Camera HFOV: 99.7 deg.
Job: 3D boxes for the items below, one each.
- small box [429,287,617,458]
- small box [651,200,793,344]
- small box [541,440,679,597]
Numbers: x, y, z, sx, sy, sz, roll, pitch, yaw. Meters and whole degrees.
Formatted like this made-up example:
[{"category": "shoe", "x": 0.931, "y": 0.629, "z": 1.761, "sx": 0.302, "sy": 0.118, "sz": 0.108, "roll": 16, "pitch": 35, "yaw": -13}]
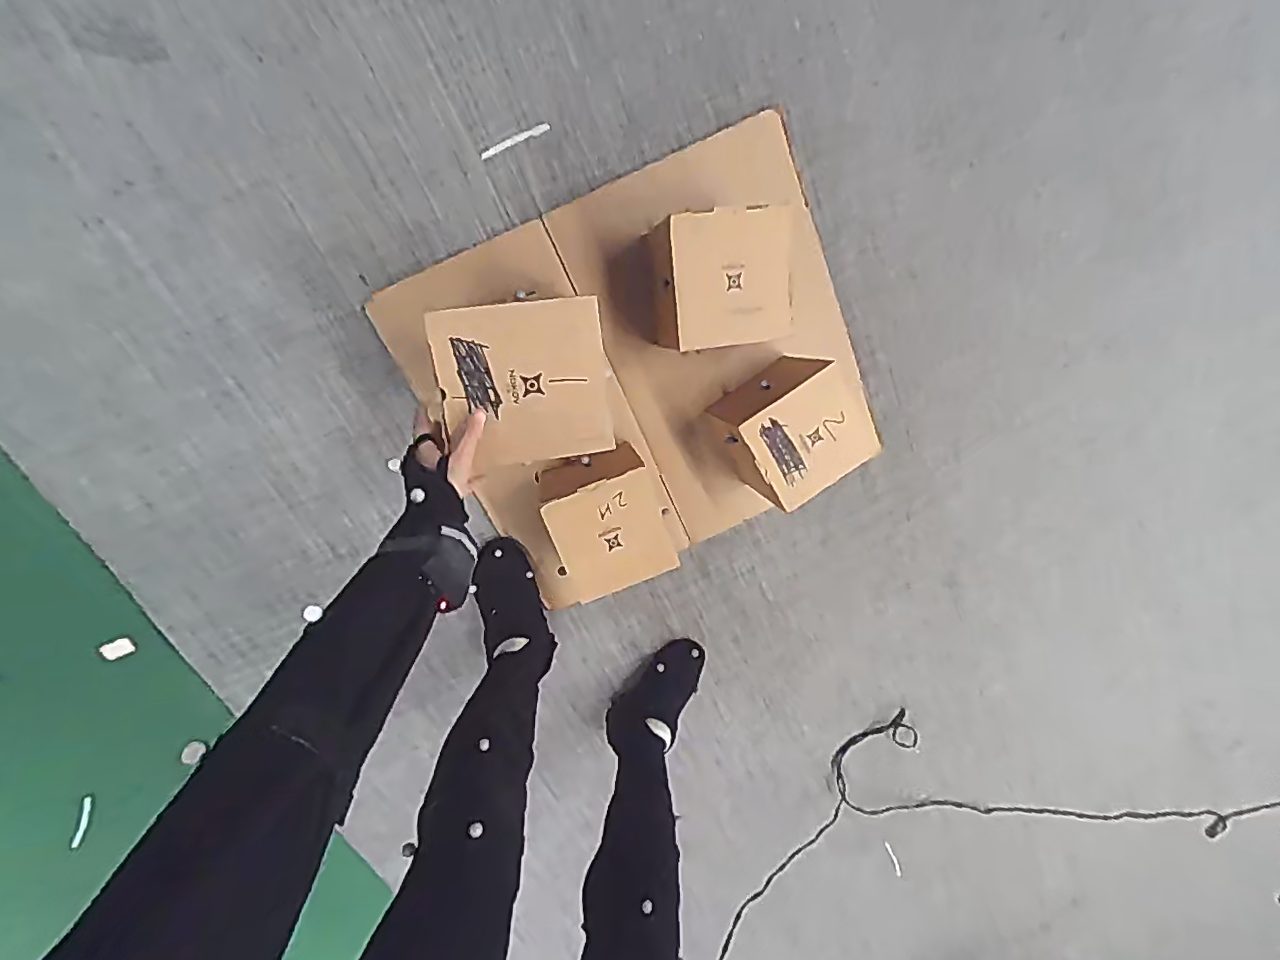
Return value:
[{"category": "small box", "x": -0.129, "y": -0.129, "z": 0.638, "sx": 0.179, "sy": 0.176, "sz": 0.168, "roll": -8, "pitch": 106, "yaw": -9}, {"category": "small box", "x": 0.114, "y": -0.298, "z": 0.801, "sx": 0.168, "sy": 0.176, "sz": 0.179, "roll": -8, "pitch": 107, "yaw": -7}, {"category": "small box", "x": -0.052, "y": 0.053, "z": 0.875, "sx": 0.168, "sy": 0.176, "sz": 0.179, "roll": -21, "pitch": 108, "yaw": -4}]
